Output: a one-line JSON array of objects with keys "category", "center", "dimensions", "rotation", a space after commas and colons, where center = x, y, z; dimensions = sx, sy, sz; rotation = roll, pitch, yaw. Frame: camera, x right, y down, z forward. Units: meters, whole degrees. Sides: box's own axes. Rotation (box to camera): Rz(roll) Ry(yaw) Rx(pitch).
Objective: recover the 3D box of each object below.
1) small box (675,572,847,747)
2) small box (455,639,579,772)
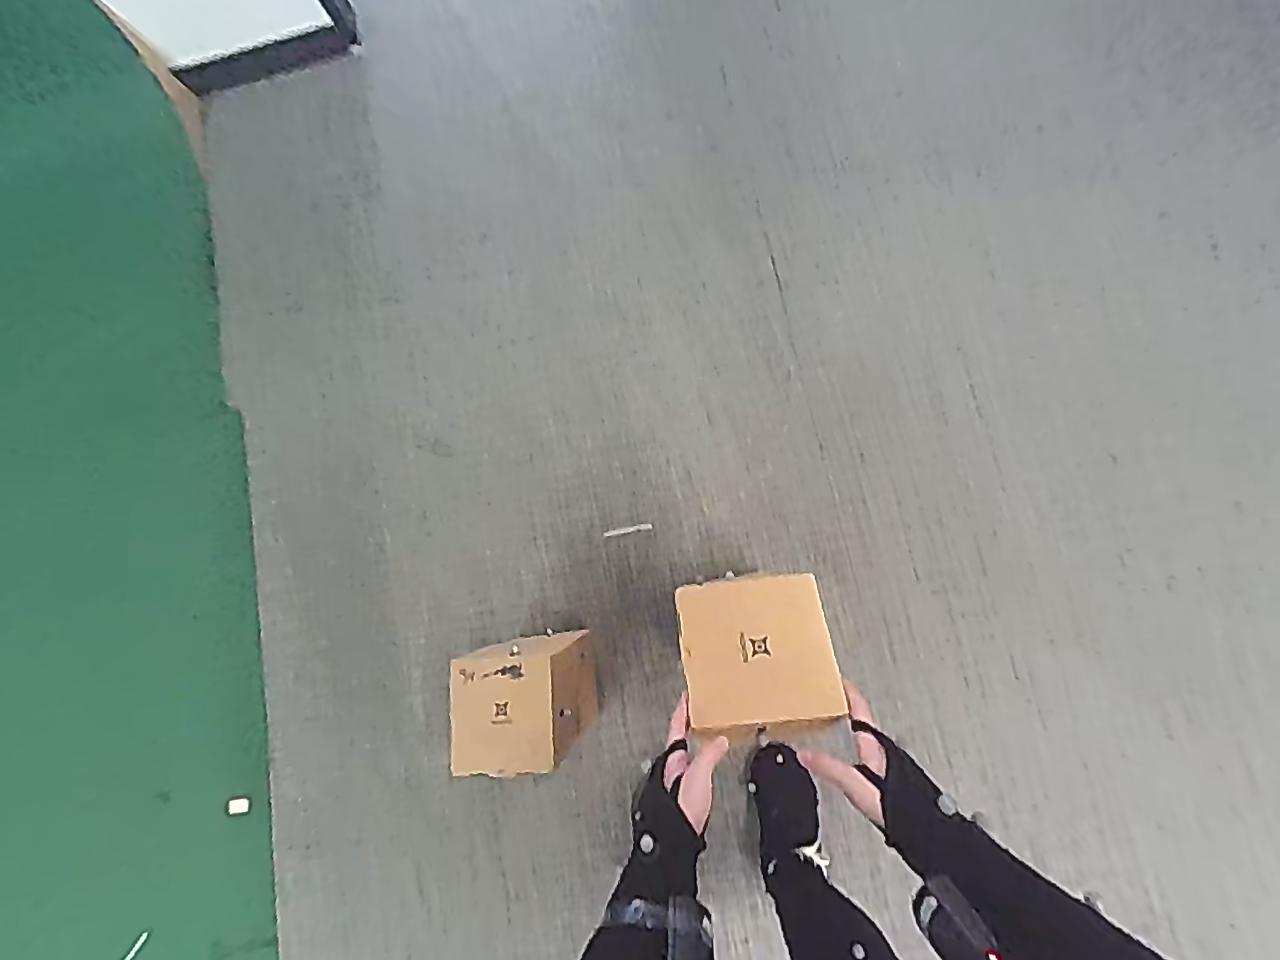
[{"category": "small box", "center": [0.145, 0.237, 0.702], "dimensions": [0.179, 0.176, 0.168], "rotation": [-8, 54, 4]}, {"category": "small box", "center": [-0.202, 0.377, 0.929], "dimensions": [0.168, 0.176, 0.179], "rotation": [-4, 80, 5]}]
